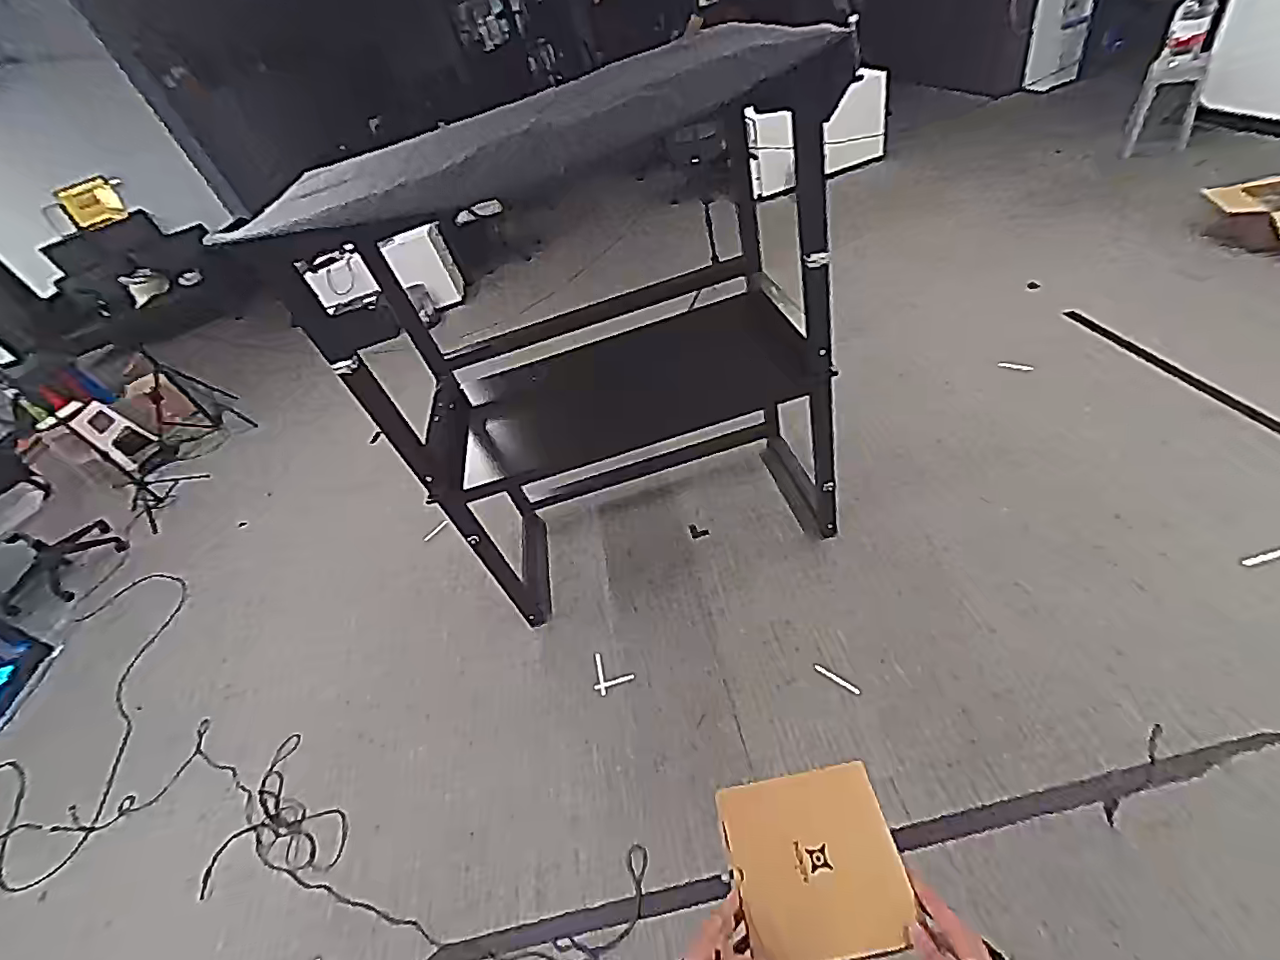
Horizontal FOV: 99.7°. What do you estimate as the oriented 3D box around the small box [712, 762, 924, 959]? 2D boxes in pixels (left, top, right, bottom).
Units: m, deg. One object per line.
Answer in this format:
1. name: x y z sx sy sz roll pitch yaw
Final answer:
1. small box: 0.190 0.456 0.633 0.179 0.176 0.168 -13 47 0
